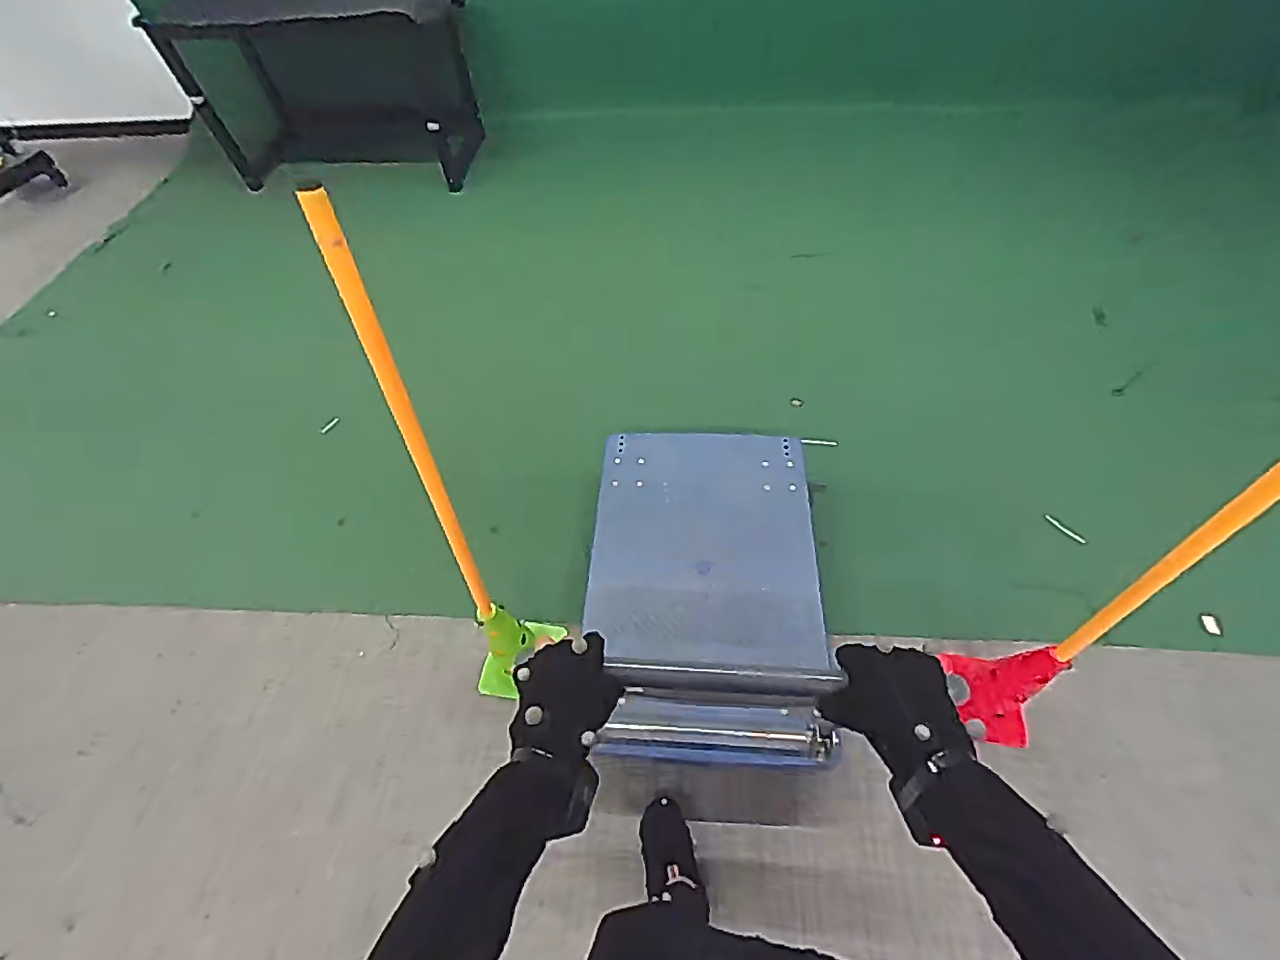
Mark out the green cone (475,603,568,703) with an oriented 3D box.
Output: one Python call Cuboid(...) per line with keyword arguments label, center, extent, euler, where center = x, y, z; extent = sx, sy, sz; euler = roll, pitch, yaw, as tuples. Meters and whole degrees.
Cuboid(label="green cone", center=(-0.316, 0.380, 1.300), extent=(0.202, 0.368, 0.200), euler=(5, 55, 8))
